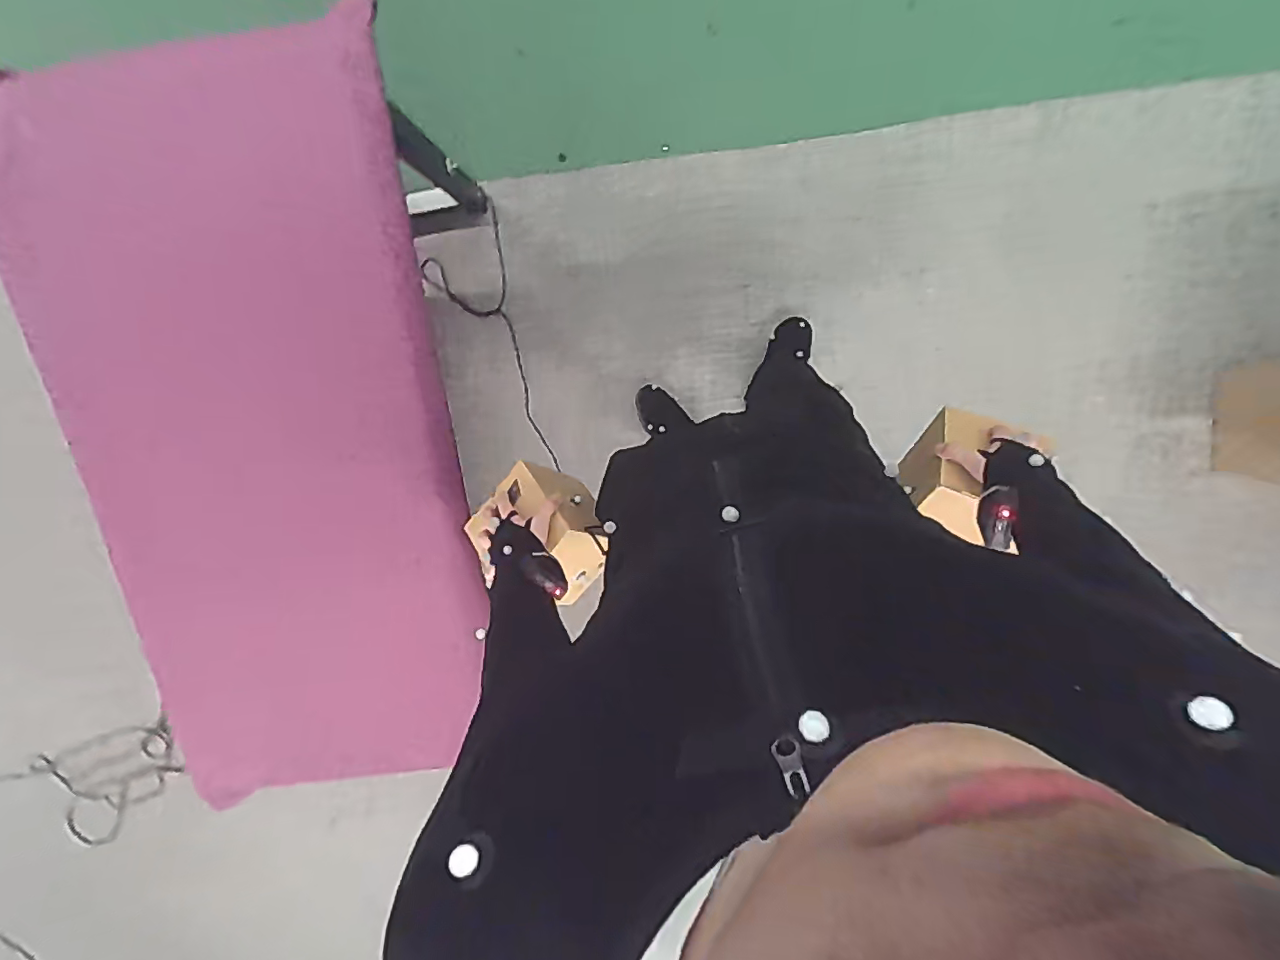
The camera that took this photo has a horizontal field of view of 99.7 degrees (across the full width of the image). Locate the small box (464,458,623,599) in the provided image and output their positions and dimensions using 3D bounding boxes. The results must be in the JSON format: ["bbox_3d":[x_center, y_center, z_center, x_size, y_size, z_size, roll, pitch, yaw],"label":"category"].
[{"bbox_3d":[-0.165,0.093,0.942,0.168,0.176,0.179,-48,60,13],"label":"small box"}]

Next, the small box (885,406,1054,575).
[{"bbox_3d":[0.507,0.021,0.850,0.168,0.179,0.176,21,145,9],"label":"small box"}]
